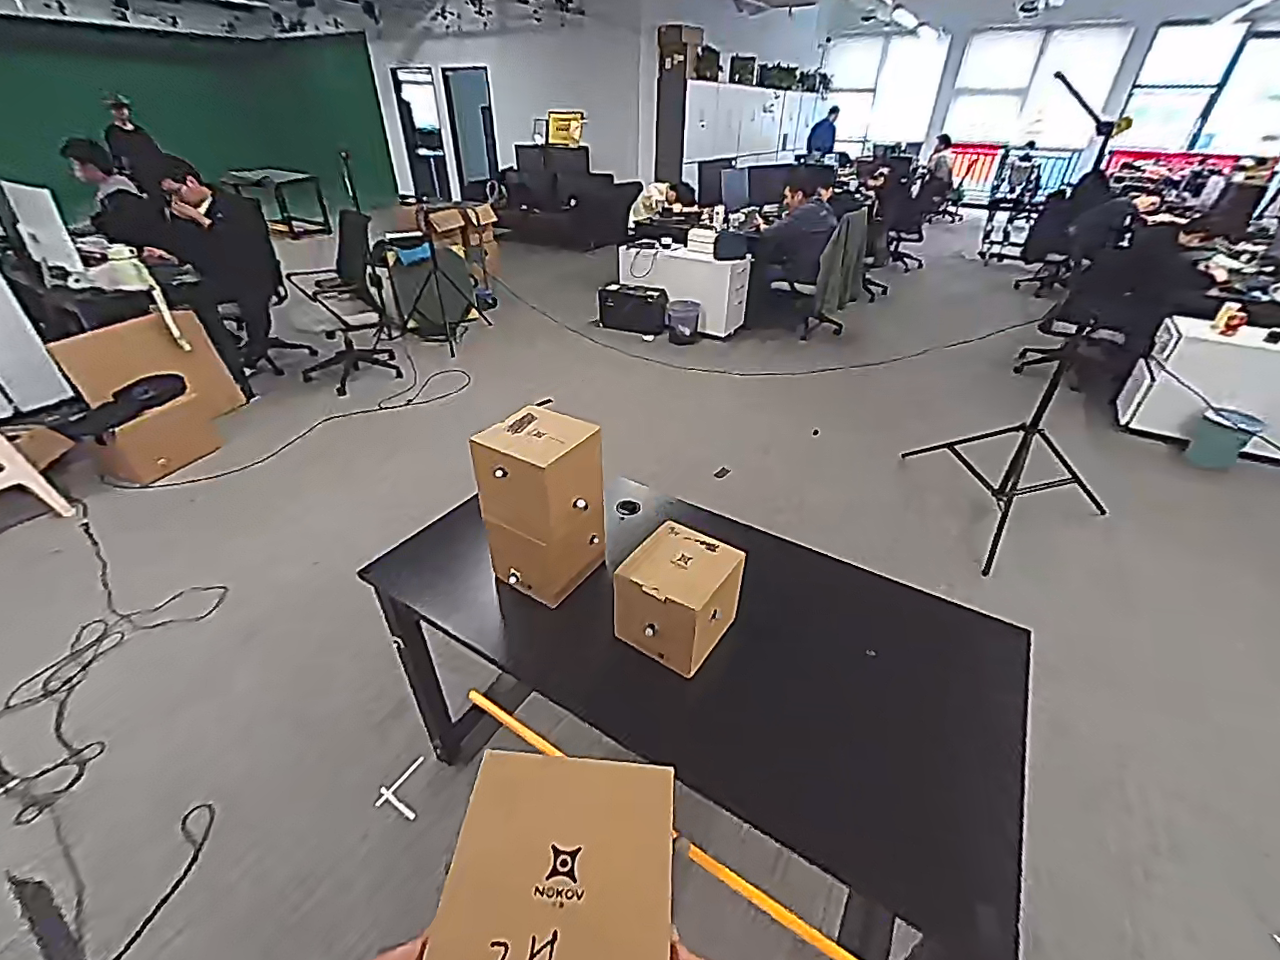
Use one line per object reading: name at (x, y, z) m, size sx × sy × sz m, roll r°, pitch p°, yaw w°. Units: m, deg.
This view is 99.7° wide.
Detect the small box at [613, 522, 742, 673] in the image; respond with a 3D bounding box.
small box at (0.068, 0.211, 0.982) m, size 0.168 × 0.176 × 0.179 m, roll 22°, pitch 40°, yaw 27°

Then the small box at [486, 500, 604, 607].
small box at (-0.188, 0.123, 1.107) m, size 0.168 × 0.176 × 0.179 m, roll 19°, pitch 39°, yaw 26°

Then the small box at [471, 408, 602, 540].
small box at (-0.186, -0.012, 1.014) m, size 0.179 × 0.176 × 0.168 m, roll 20°, pitch 38°, yaw 25°

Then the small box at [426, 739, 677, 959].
small box at (-0.060, 0.351, 0.453) m, size 0.168 × 0.176 × 0.179 m, roll 4°, pitch 37°, yaw 2°
